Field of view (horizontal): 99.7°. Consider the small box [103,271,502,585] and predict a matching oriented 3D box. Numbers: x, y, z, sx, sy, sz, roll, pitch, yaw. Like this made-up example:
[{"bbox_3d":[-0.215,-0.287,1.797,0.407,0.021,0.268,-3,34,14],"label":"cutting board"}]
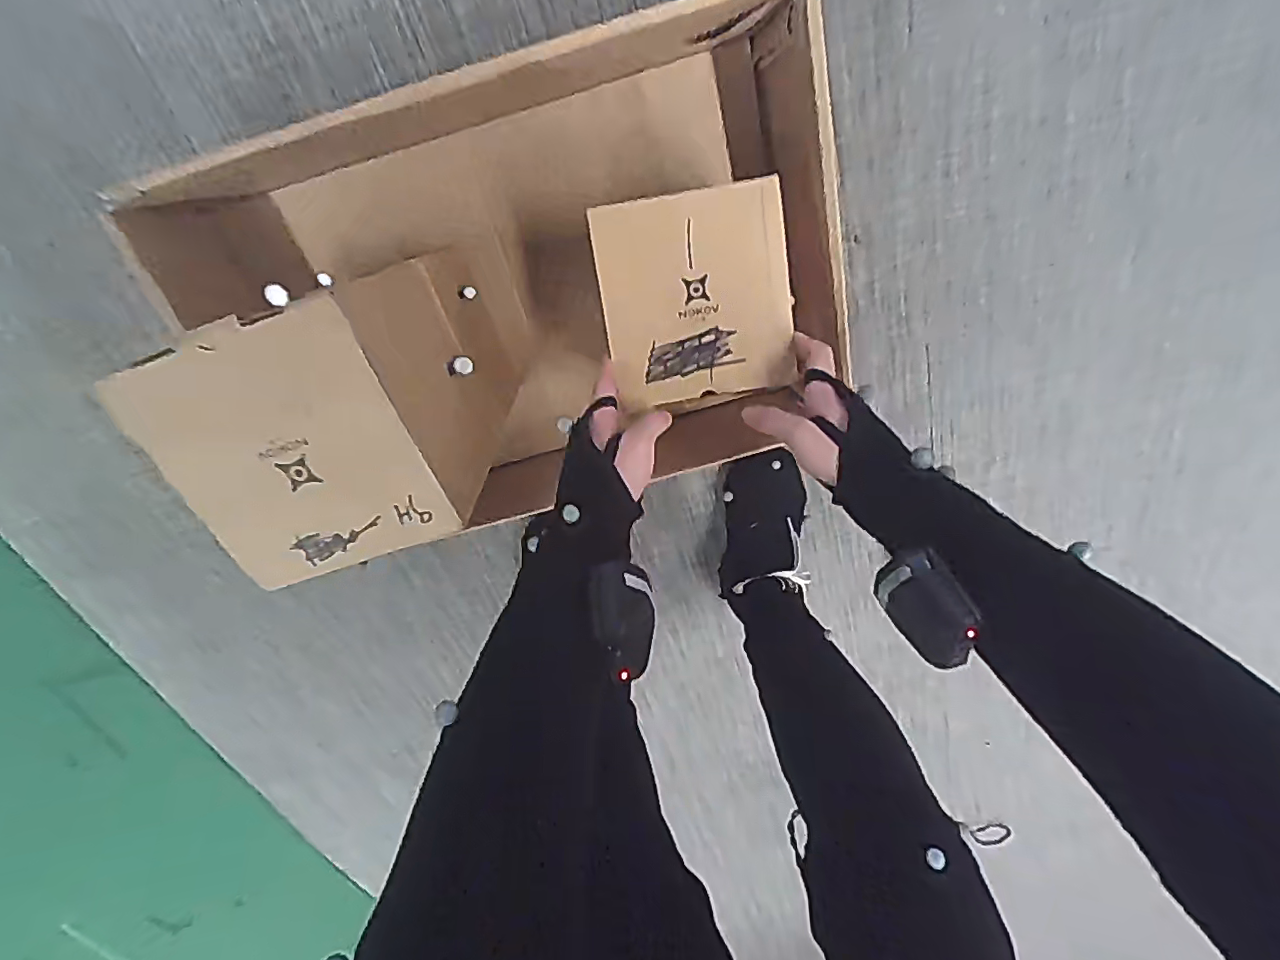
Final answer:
[{"bbox_3d":[-0.227,-0.053,0.425,0.168,0.176,0.179,-17,117,5],"label":"small box"}]
